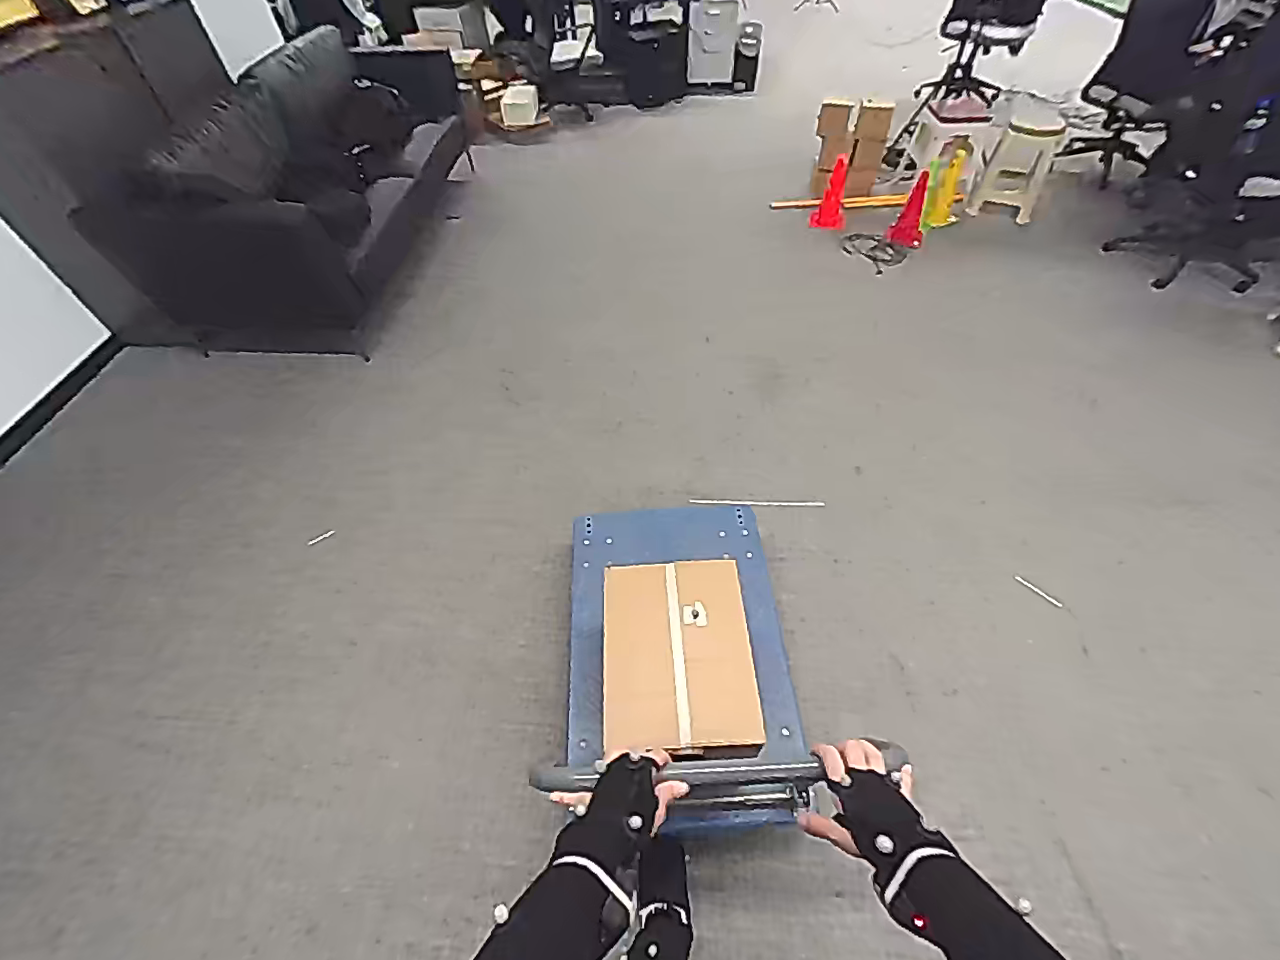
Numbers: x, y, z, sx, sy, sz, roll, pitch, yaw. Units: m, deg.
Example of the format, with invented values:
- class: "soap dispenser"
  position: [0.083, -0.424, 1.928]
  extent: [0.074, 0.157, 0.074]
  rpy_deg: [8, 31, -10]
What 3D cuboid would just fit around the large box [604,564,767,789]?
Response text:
- class: "large box"
  position: [0.087, 0.457, 1.266]
  extent: [0.320, 0.320, 0.408]
  rpy_deg: [-3, 49, 0]
